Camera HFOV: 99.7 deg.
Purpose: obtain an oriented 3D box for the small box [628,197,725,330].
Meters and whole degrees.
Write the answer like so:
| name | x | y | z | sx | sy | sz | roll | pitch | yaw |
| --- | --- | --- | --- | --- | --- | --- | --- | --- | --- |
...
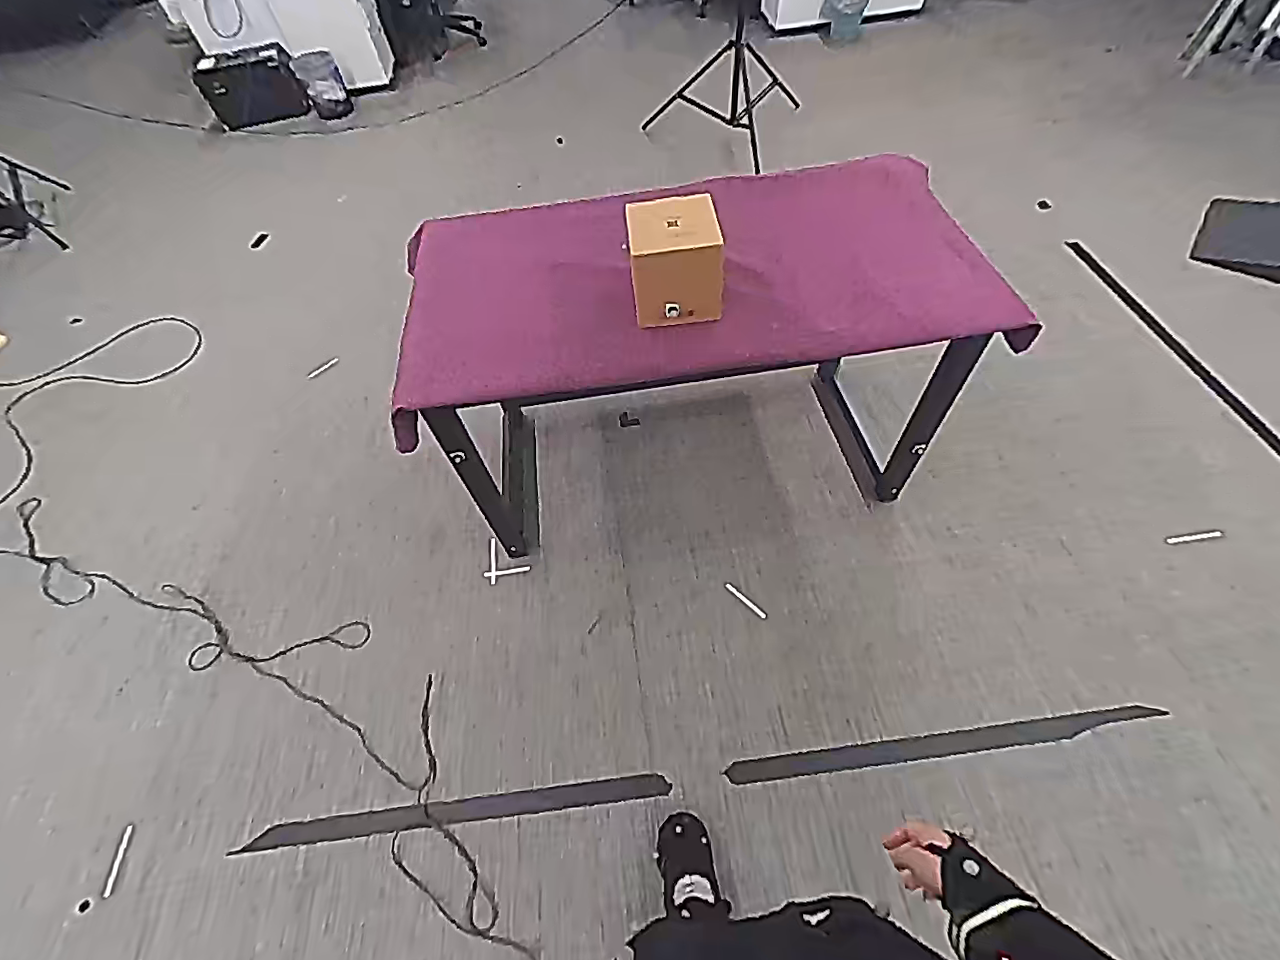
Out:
| name | x | y | z | sx | sy | sz | roll | pitch | yaw |
| --- | --- | --- | --- | --- | --- | --- | --- | --- | --- |
| small box | 0.068 | -0.421 | 1.060 | 0.168 | 0.176 | 0.179 | -7 | 56 | 1 |
